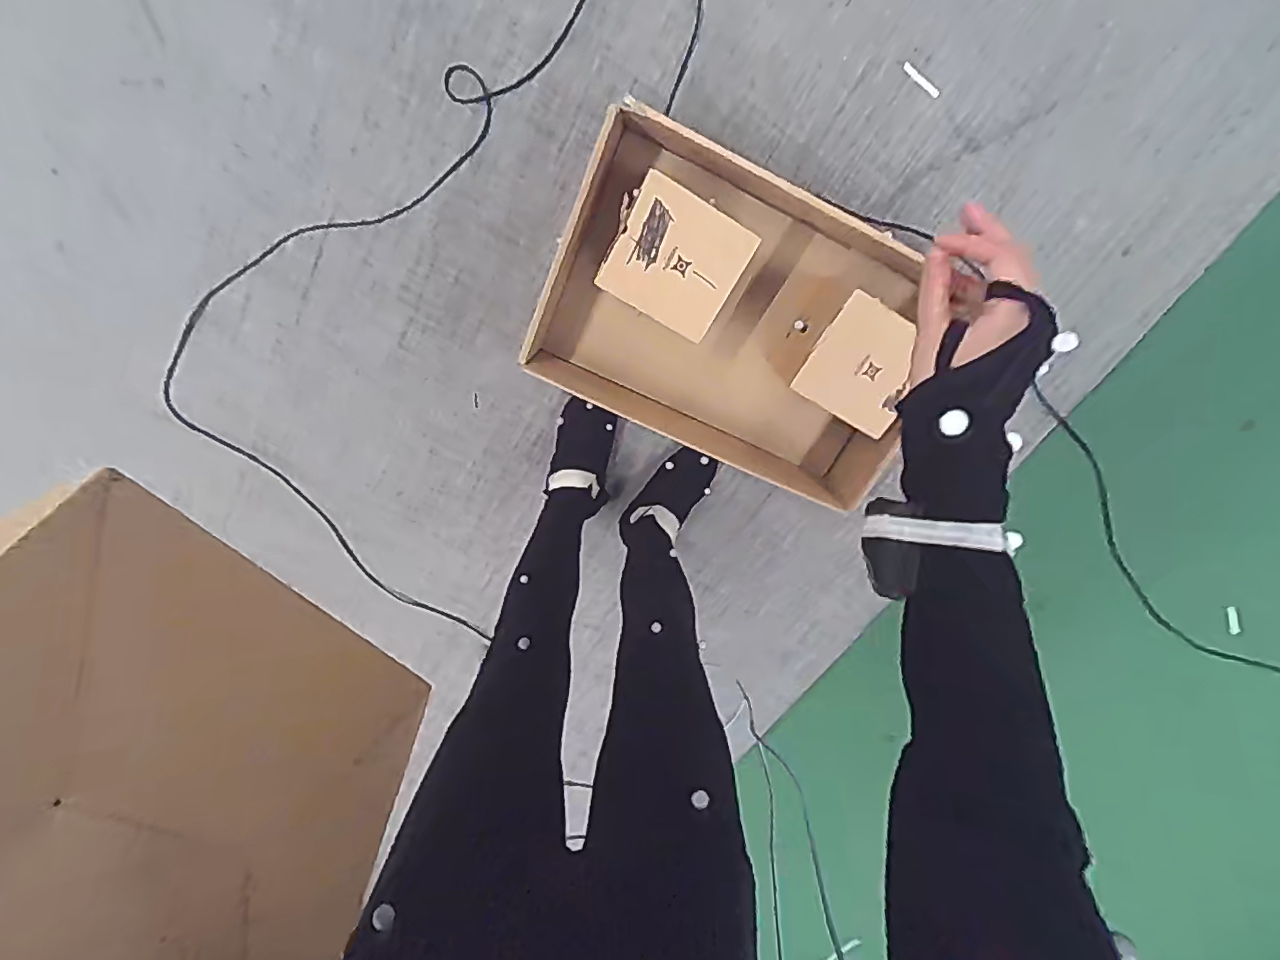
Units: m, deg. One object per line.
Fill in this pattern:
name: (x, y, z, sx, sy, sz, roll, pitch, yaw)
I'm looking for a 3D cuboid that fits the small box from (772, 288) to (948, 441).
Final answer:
small box: (0.338, -0.193, 0.872, 0.179, 0.176, 0.168, 29, 111, -11)
